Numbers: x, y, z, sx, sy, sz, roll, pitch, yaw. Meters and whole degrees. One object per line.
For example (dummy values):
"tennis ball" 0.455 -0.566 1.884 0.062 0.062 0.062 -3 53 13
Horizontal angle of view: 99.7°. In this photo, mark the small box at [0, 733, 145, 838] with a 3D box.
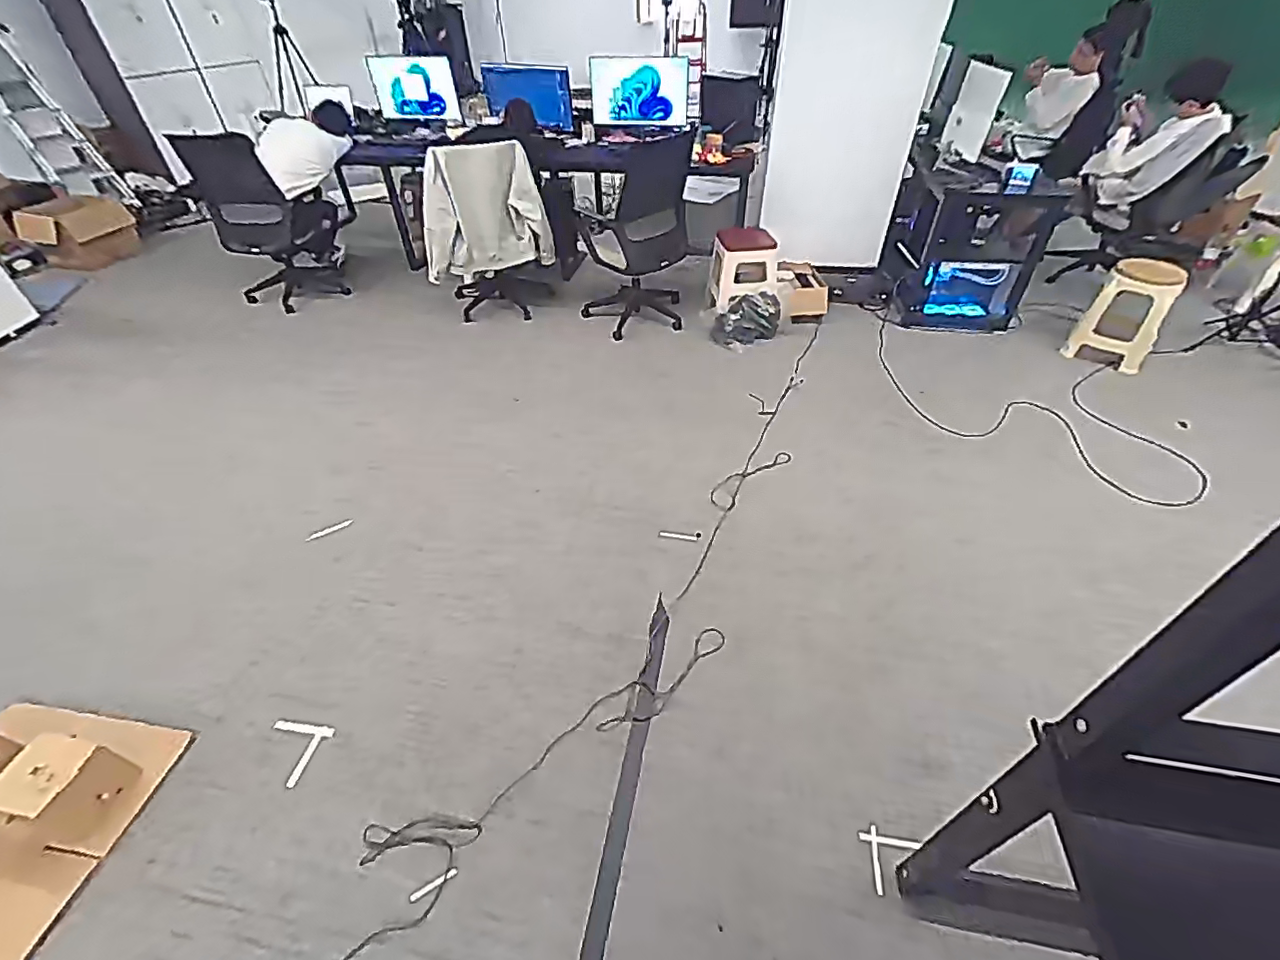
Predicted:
"small box" -1.395 0.750 1.323 0.179 0.176 0.168 7 44 8
